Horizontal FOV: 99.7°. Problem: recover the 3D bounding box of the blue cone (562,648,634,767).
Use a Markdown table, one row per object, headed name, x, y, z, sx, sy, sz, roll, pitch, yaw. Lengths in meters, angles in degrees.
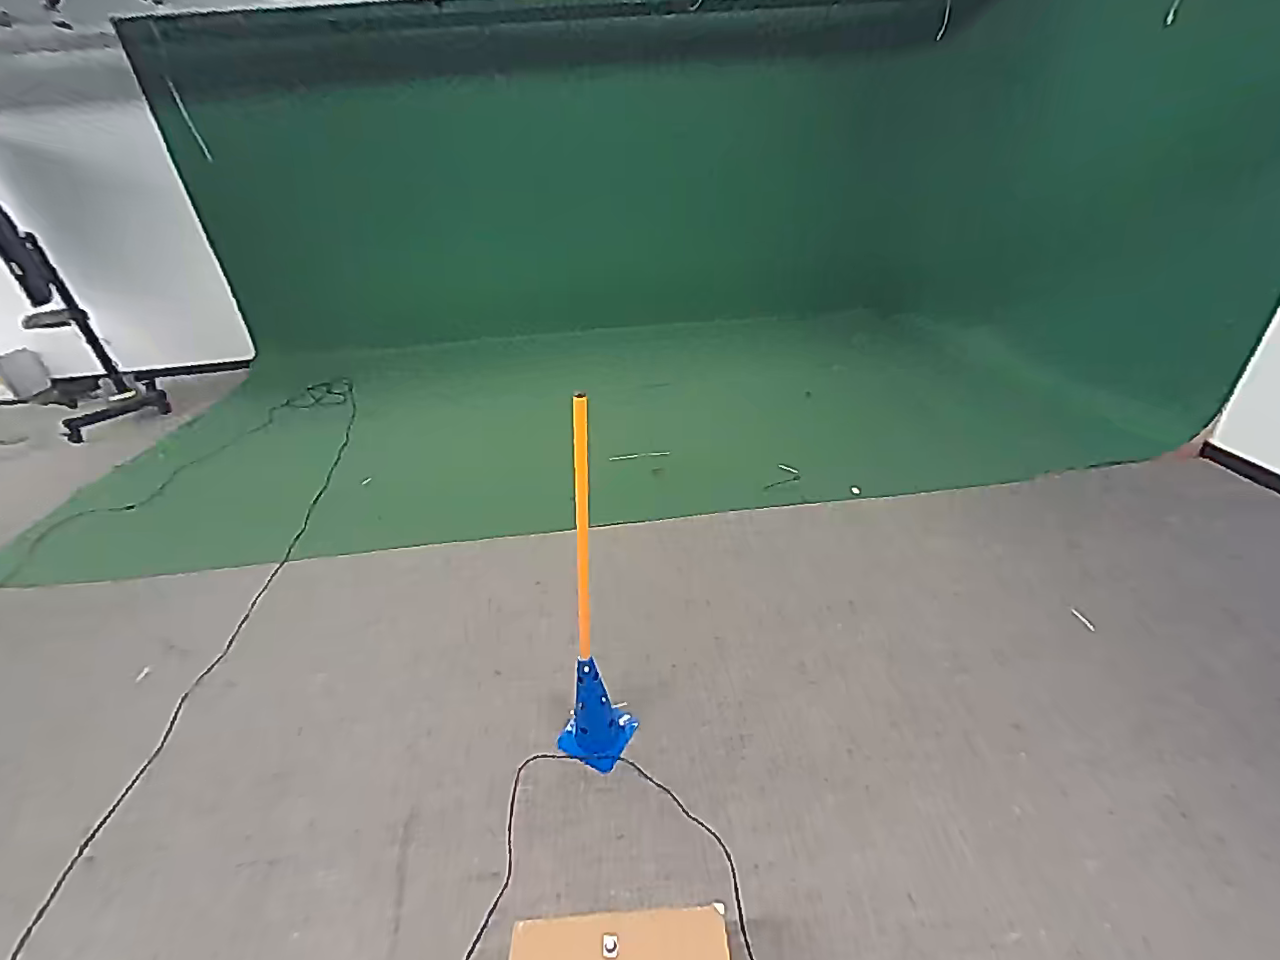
| name | x | y | z | sx | sy | sz | roll | pitch | yaw |
| --- | --- | --- | --- | --- | --- | --- | --- | --- | --- |
| blue cone | -0.138 | 0.637 | 1.590 | 0.192 | 0.380 | 0.193 | 13 | 34 | 24 |
